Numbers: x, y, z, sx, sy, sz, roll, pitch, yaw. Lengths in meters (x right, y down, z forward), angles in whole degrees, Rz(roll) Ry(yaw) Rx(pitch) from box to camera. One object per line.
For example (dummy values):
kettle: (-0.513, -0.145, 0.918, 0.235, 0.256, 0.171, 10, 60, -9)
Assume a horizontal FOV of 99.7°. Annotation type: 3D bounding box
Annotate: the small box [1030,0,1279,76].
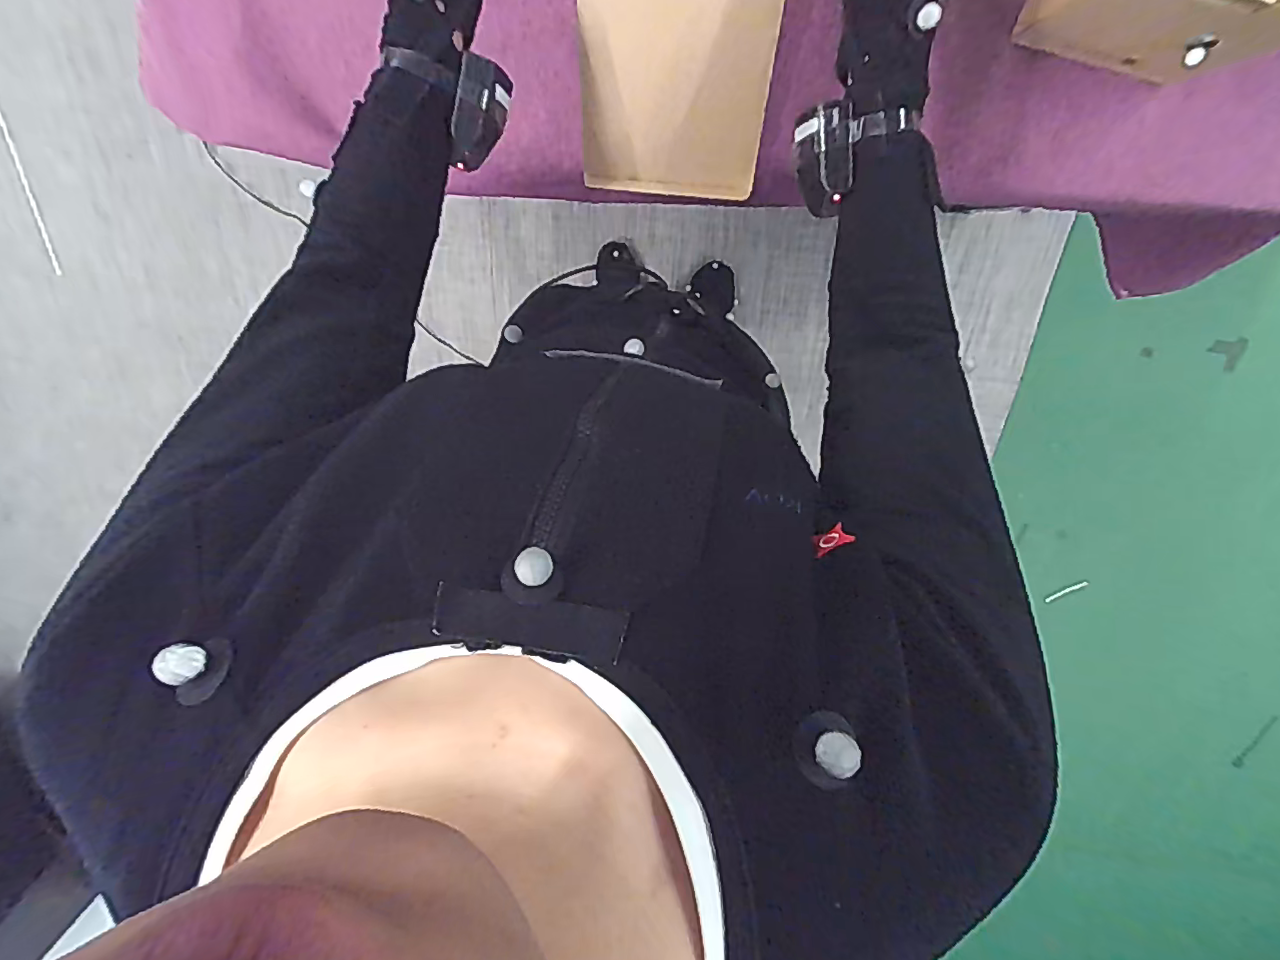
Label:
small box: (0.448, -0.446, 0.412, 0.168, 0.176, 0.179, 15, 114, -2)
